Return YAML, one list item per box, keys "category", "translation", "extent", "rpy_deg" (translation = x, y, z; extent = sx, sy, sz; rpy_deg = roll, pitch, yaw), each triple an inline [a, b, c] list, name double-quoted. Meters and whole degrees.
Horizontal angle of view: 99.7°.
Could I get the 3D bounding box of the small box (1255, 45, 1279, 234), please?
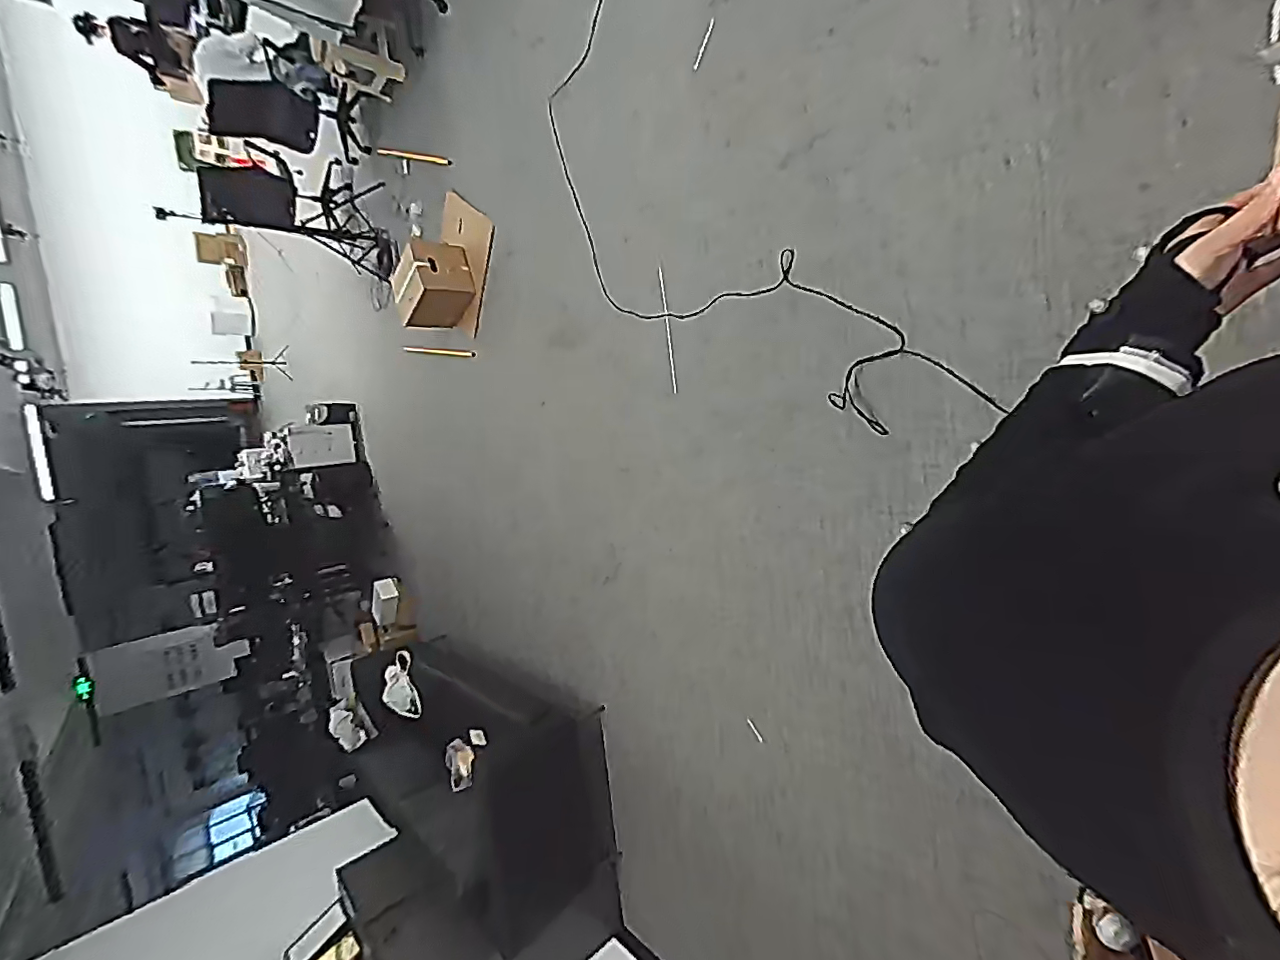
- category: "small box"
  translation: [0.478, -0.244, 0.292]
  extent: [0.179, 0.176, 0.168]
  rpy_deg: [6, 106, 43]
